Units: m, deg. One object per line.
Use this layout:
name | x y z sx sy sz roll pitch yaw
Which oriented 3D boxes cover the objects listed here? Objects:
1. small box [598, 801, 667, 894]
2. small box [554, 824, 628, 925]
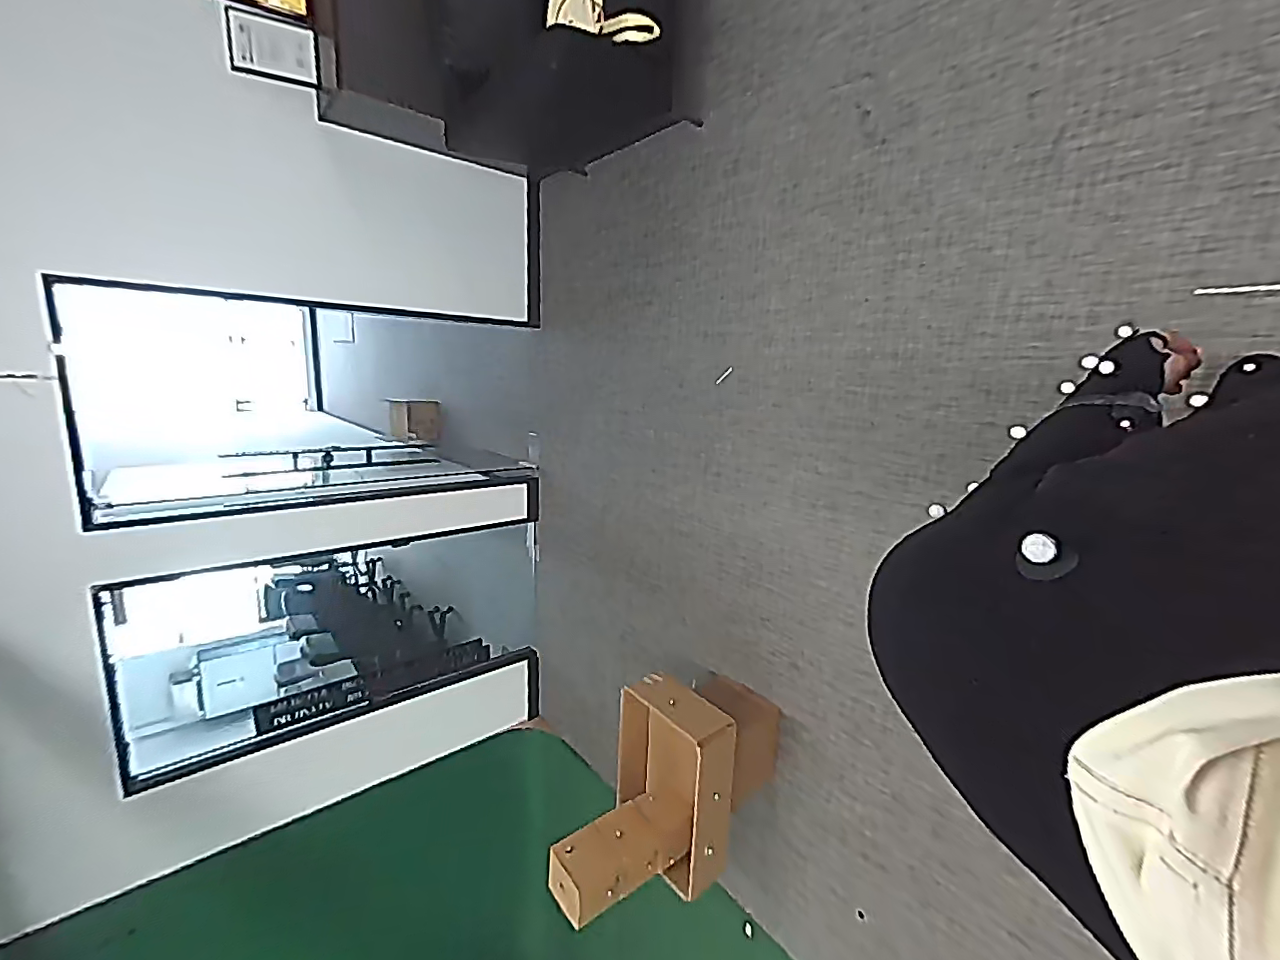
small box | -0.030 1.235 1.838 0.179 0.176 0.168 19 111 49
small box | -0.159 1.253 1.737 0.179 0.176 0.168 22 113 47
